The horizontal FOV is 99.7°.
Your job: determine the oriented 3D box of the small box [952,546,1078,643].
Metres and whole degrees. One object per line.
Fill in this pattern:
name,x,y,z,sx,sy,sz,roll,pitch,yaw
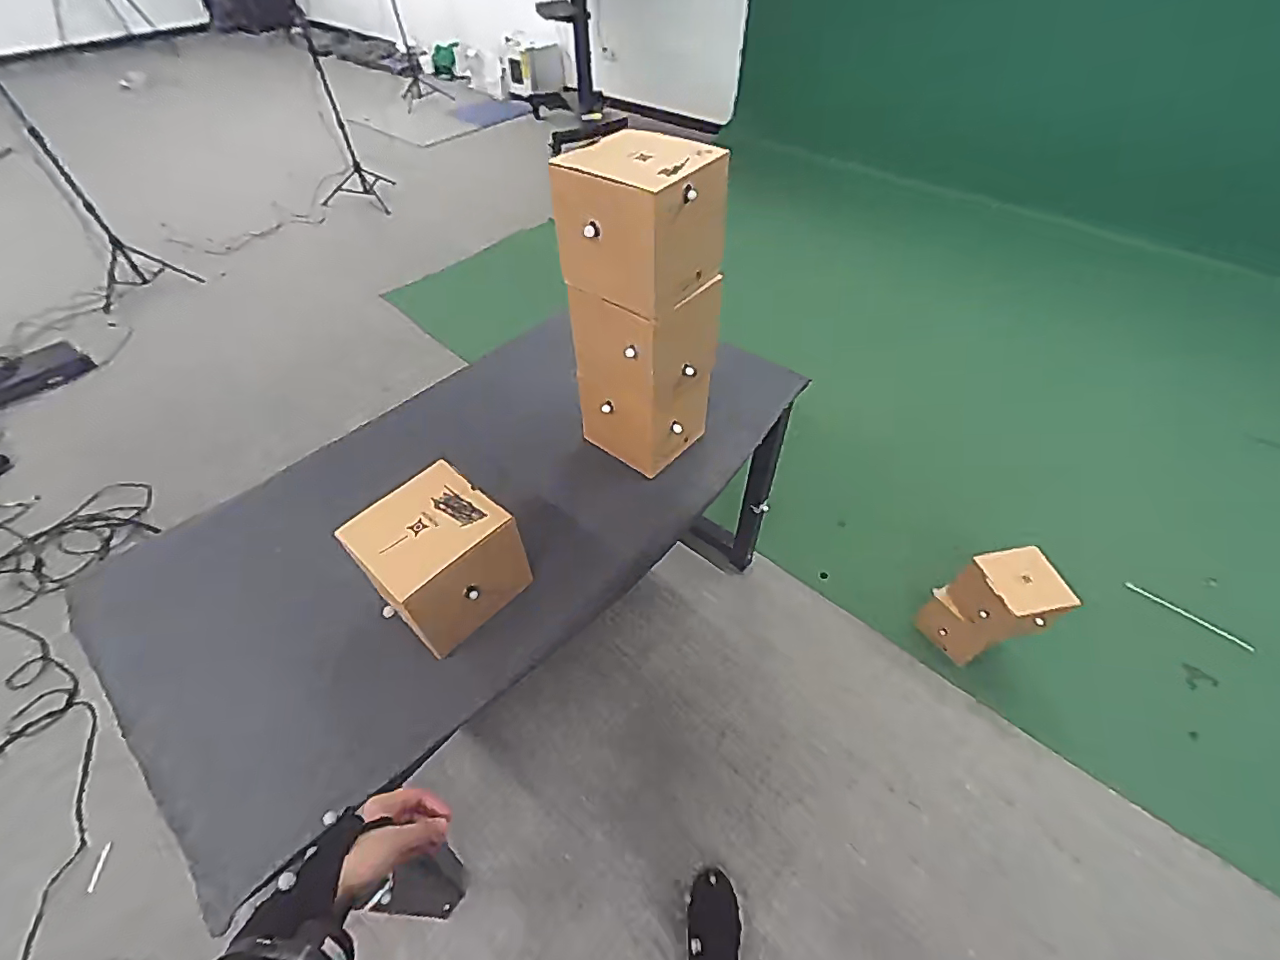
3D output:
small box,0.922,0.291,1.356,0.179,0.176,0.168,-9,51,-8

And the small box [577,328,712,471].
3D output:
small box,0.010,-0.141,0.987,0.179,0.176,0.168,33,57,27

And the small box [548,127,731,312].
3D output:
small box,0.002,-0.354,0.738,0.179,0.176,0.168,29,56,25

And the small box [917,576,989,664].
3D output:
small box,0.904,0.377,1.497,0.179,0.176,0.168,-26,55,-20

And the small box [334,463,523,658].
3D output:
small box,-0.285,0.115,0.772,0.168,0.176,0.179,34,58,27
